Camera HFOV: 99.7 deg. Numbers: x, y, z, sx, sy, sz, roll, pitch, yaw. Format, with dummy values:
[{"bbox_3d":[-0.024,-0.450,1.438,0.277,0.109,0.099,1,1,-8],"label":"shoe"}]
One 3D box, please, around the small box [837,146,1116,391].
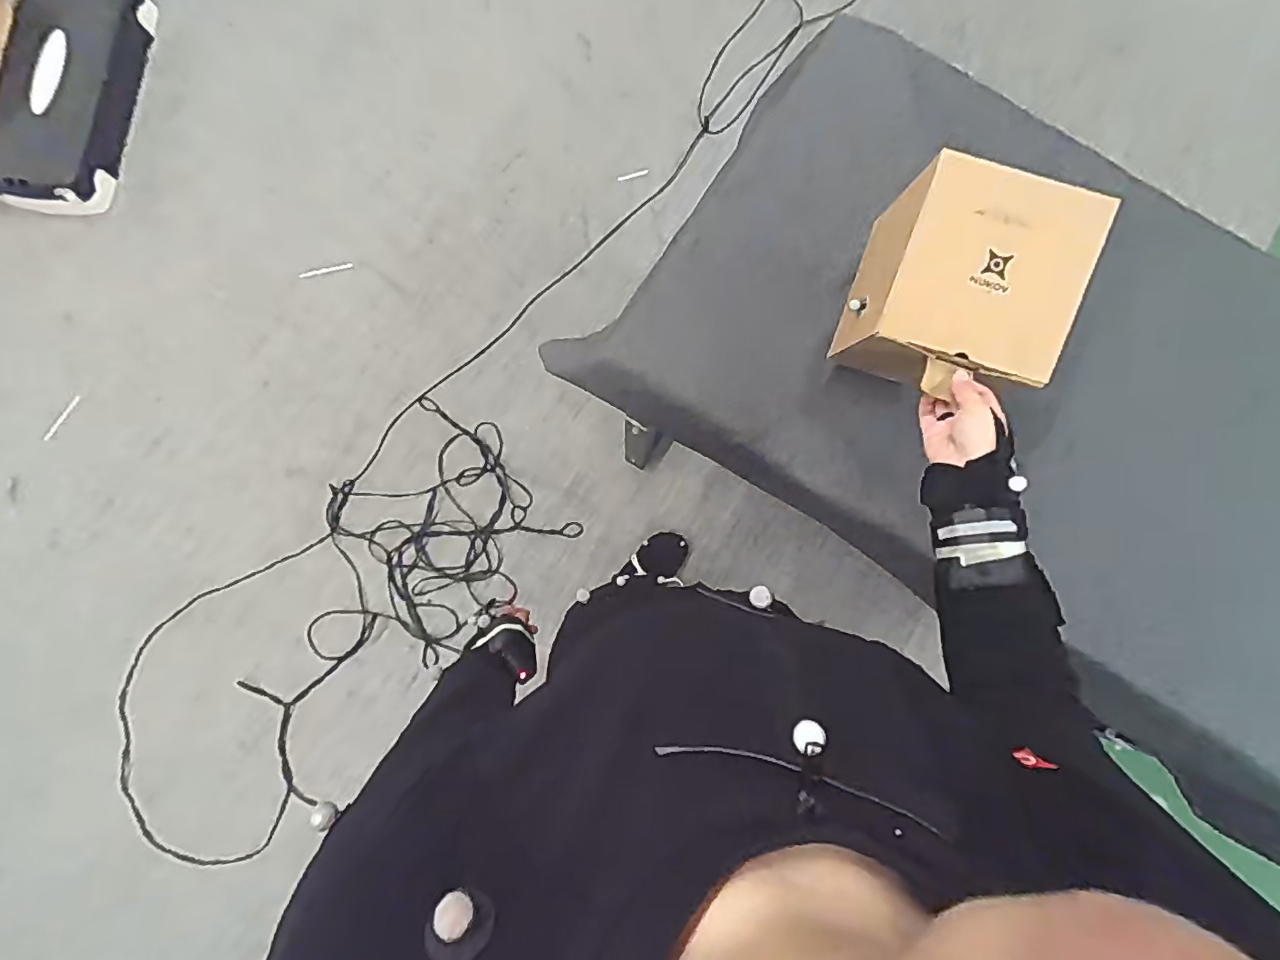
[{"bbox_3d":[0.329,-0.202,0.573,0.168,0.176,0.179,18,95,2],"label":"small box"}]
